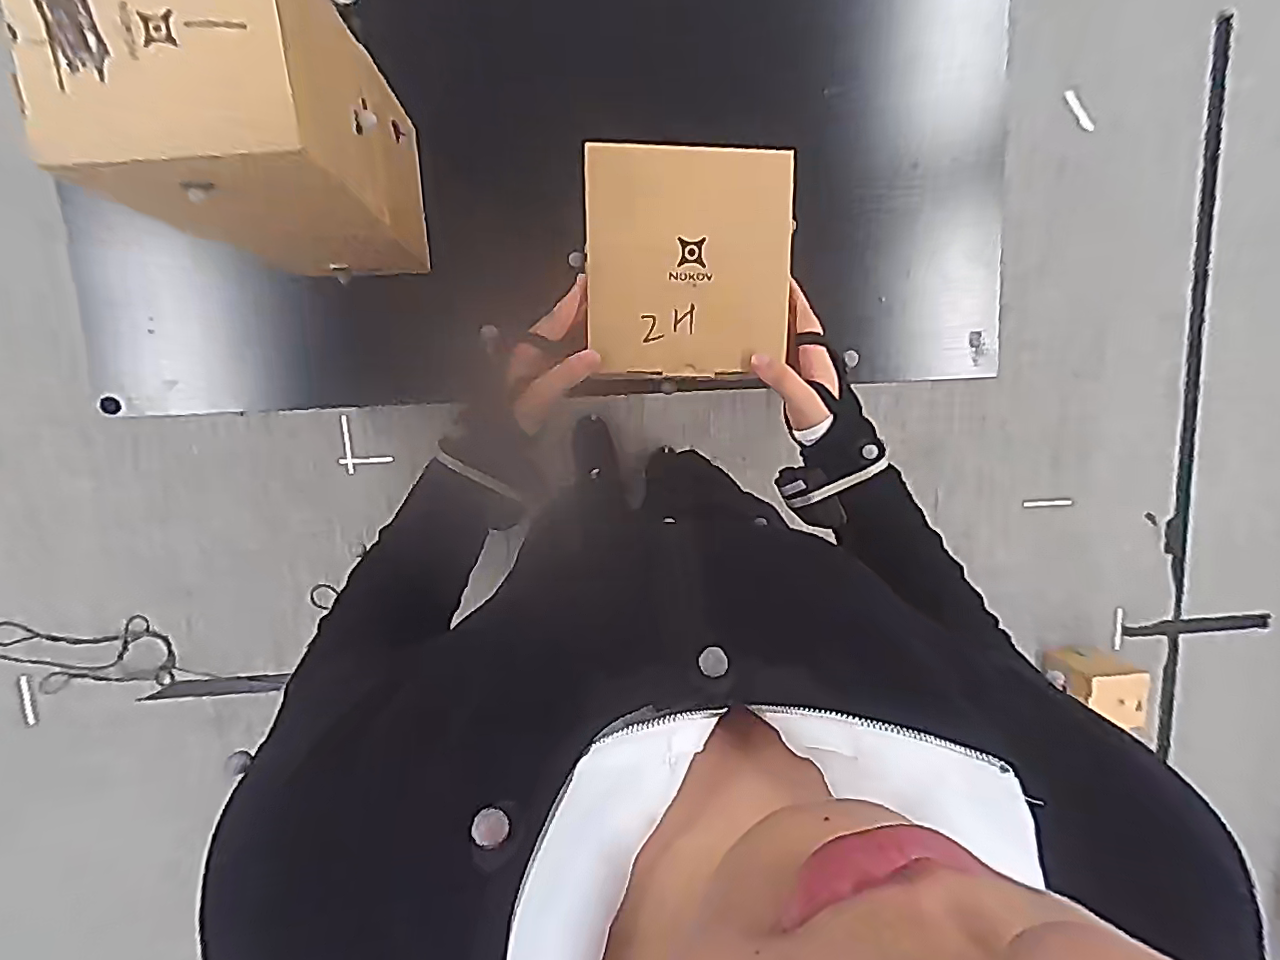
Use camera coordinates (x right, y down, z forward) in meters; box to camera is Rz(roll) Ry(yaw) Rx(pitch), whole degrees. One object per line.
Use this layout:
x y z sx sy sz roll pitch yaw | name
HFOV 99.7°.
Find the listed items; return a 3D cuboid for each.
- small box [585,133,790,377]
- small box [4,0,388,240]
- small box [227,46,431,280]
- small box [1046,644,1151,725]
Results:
0.032 -0.192 0.512 0.168 0.176 0.179 -1 99 -4 | small box
-0.336 -0.309 0.442 0.179 0.176 0.168 -7 98 -4 | small box
-0.348 -0.337 0.604 0.168 0.176 0.179 -5 98 -4 | small box
1.360 0.607 1.616 0.179 0.176 0.168 -3 98 -4 | small box
